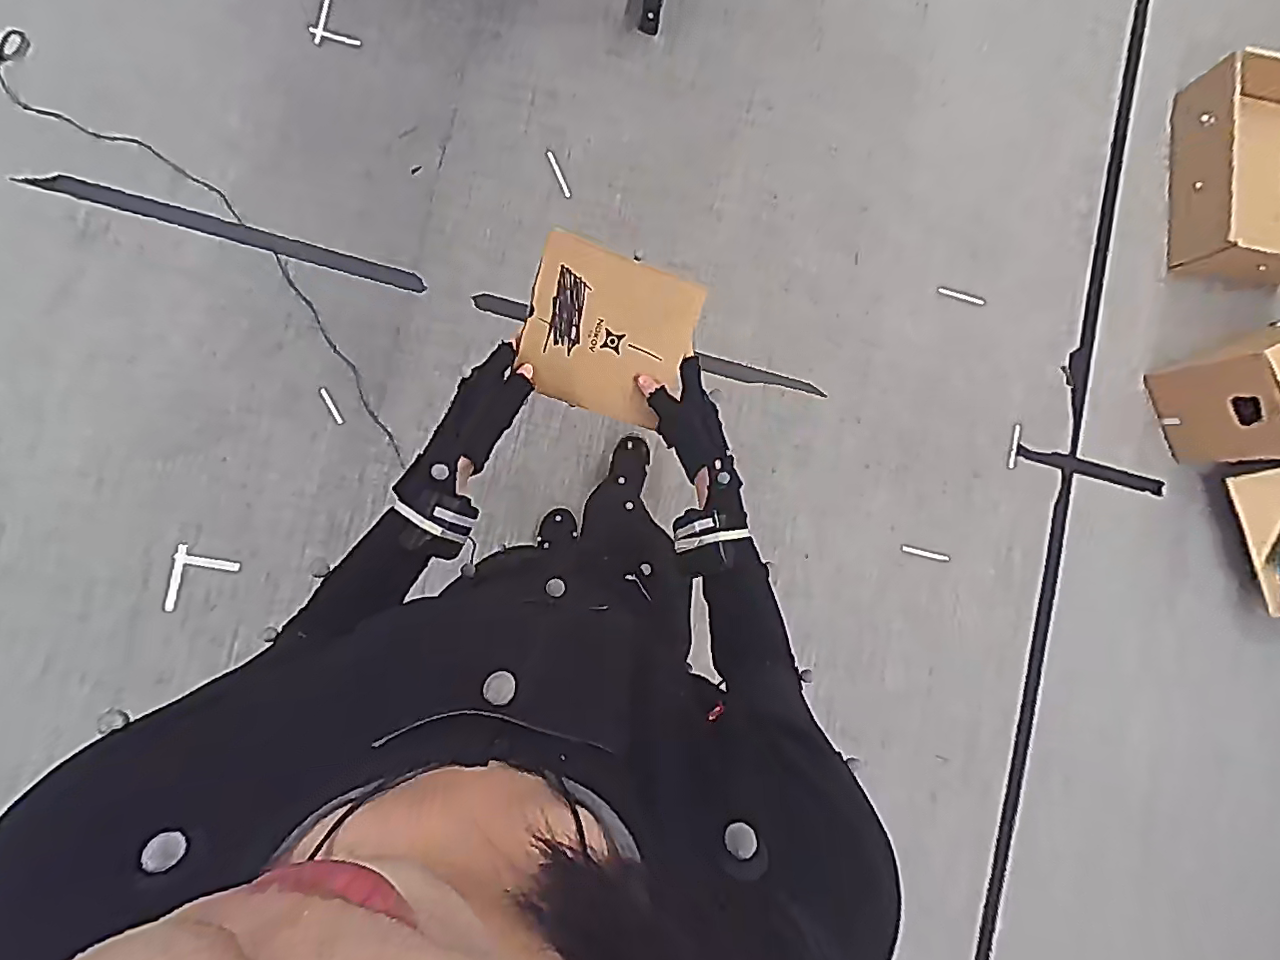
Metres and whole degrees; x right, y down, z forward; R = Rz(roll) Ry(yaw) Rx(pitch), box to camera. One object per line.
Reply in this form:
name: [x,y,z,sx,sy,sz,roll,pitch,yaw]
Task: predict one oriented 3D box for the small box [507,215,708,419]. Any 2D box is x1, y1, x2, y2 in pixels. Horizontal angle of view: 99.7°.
small box: [-0.040,-0.192,0.645,0.179,0.176,0.168,17,109,-9]
